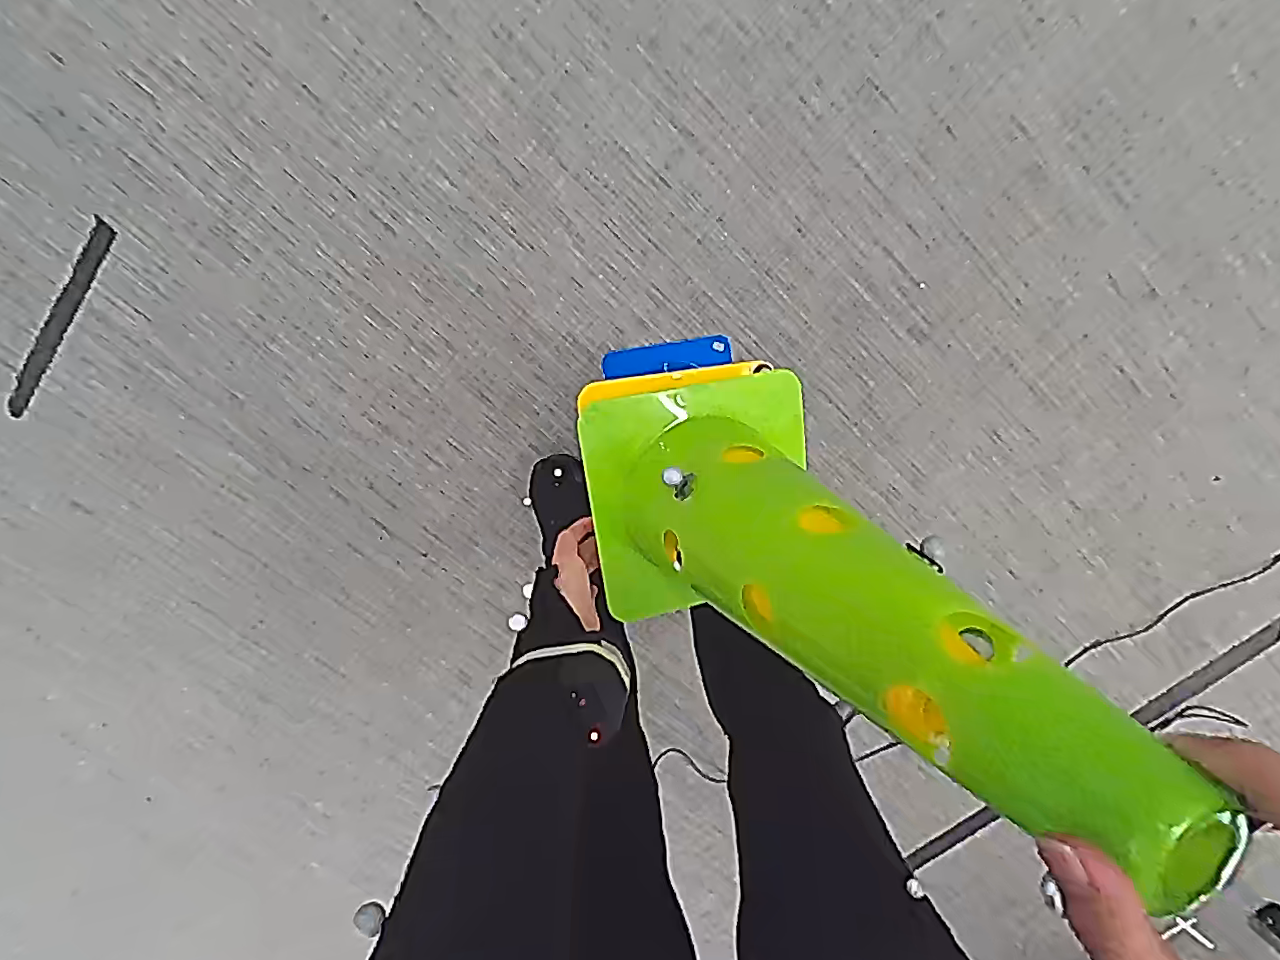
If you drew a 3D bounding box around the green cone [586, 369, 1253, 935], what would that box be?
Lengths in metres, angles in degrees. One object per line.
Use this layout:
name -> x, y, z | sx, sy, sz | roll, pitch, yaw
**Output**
green cone -> 0.104, 0.054, 0.307 | 0.202, 0.368, 0.200 | -12, 106, -11
